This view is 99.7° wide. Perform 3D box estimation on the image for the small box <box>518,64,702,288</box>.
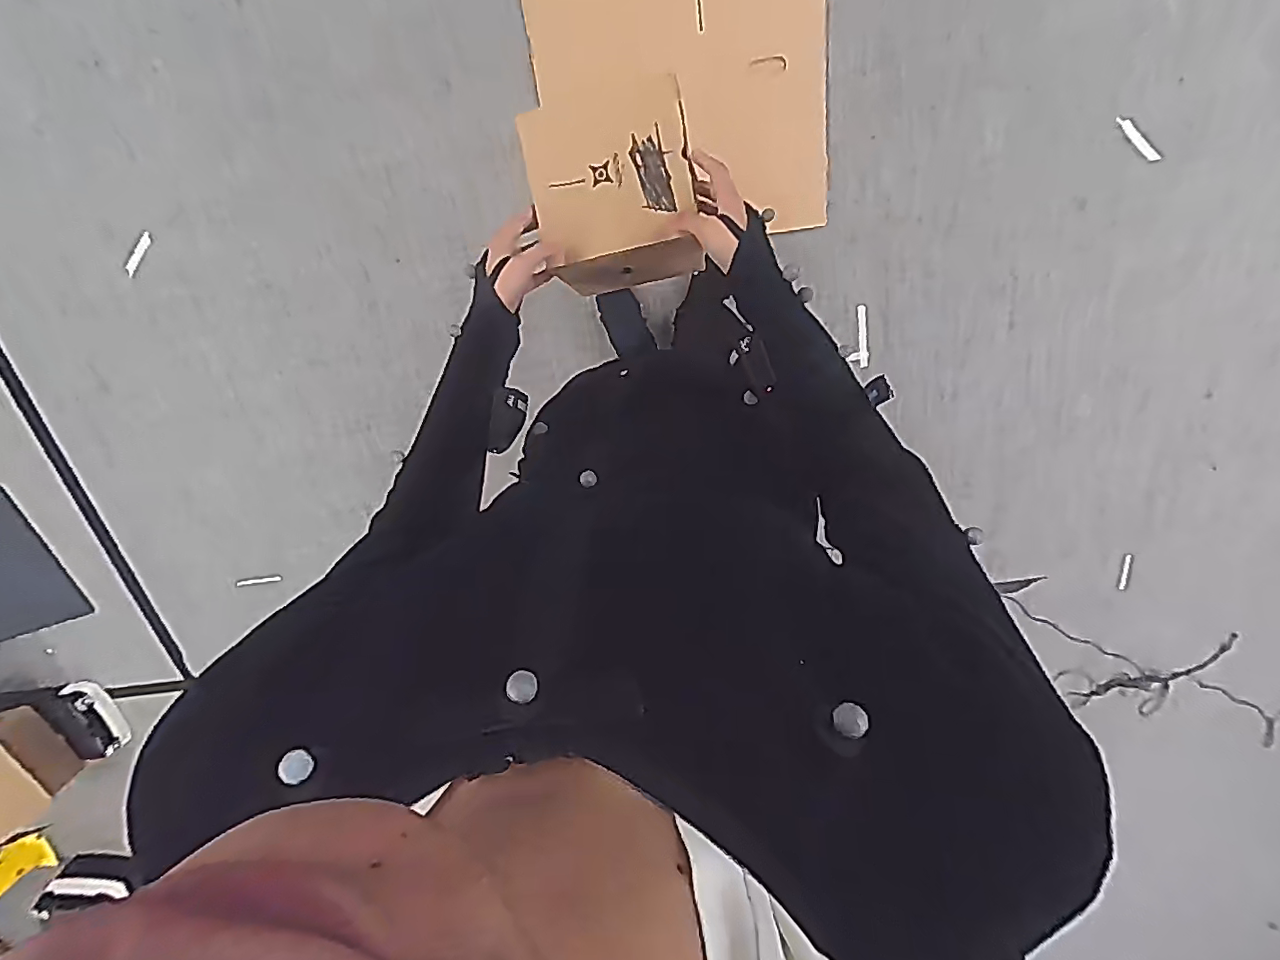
[{"bbox_3d":[-0.023,-0.345,0.651,0.179,0.176,0.168,-10,97,10],"label":"small box"}]
